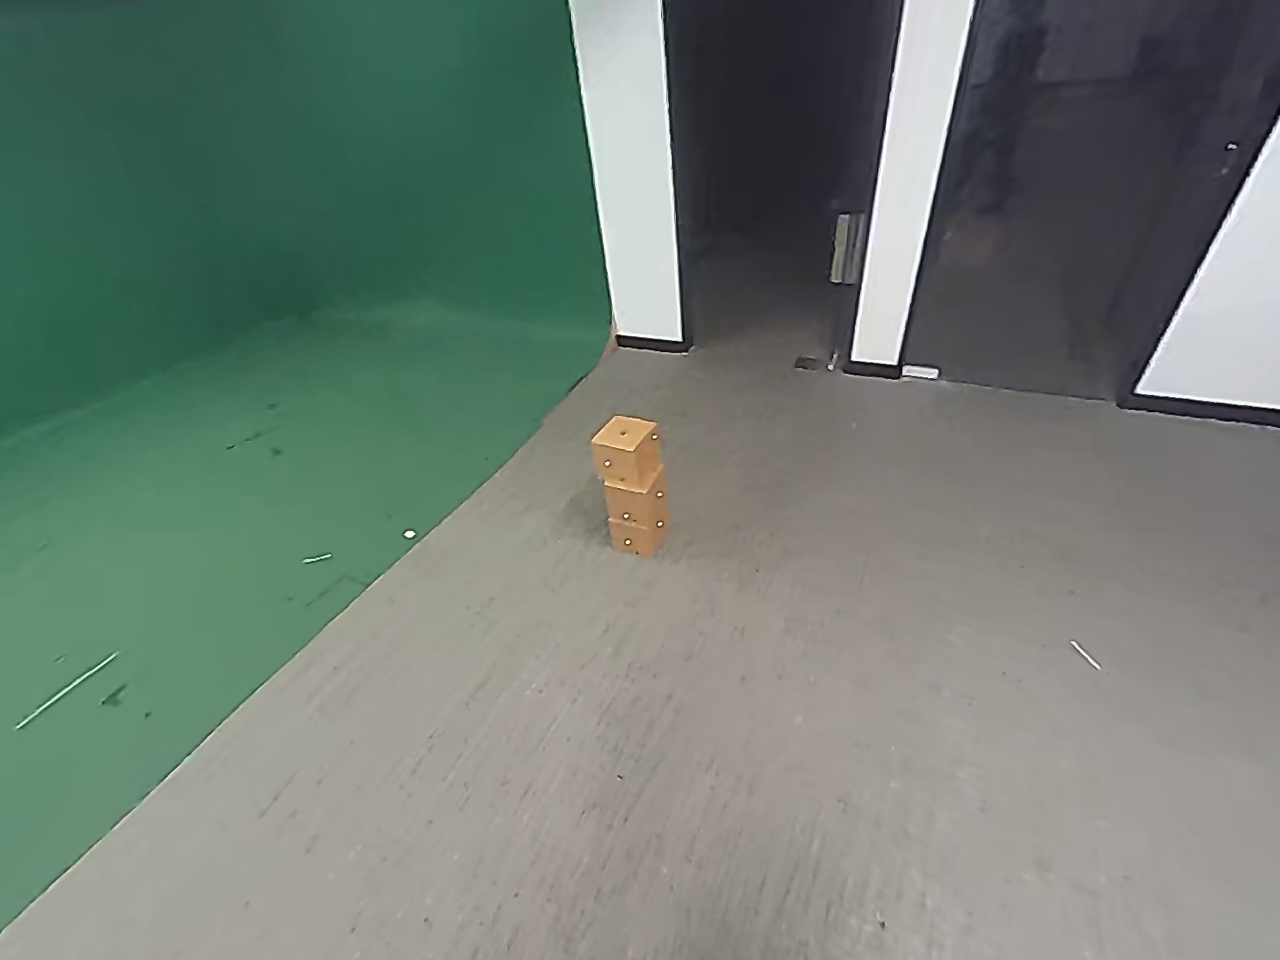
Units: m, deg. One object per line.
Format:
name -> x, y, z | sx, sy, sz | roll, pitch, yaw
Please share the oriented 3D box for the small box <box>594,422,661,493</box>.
small box -> -0.037, -0.077, 1.883 | 0.168, 0.176, 0.179 | 14, 43, 26
